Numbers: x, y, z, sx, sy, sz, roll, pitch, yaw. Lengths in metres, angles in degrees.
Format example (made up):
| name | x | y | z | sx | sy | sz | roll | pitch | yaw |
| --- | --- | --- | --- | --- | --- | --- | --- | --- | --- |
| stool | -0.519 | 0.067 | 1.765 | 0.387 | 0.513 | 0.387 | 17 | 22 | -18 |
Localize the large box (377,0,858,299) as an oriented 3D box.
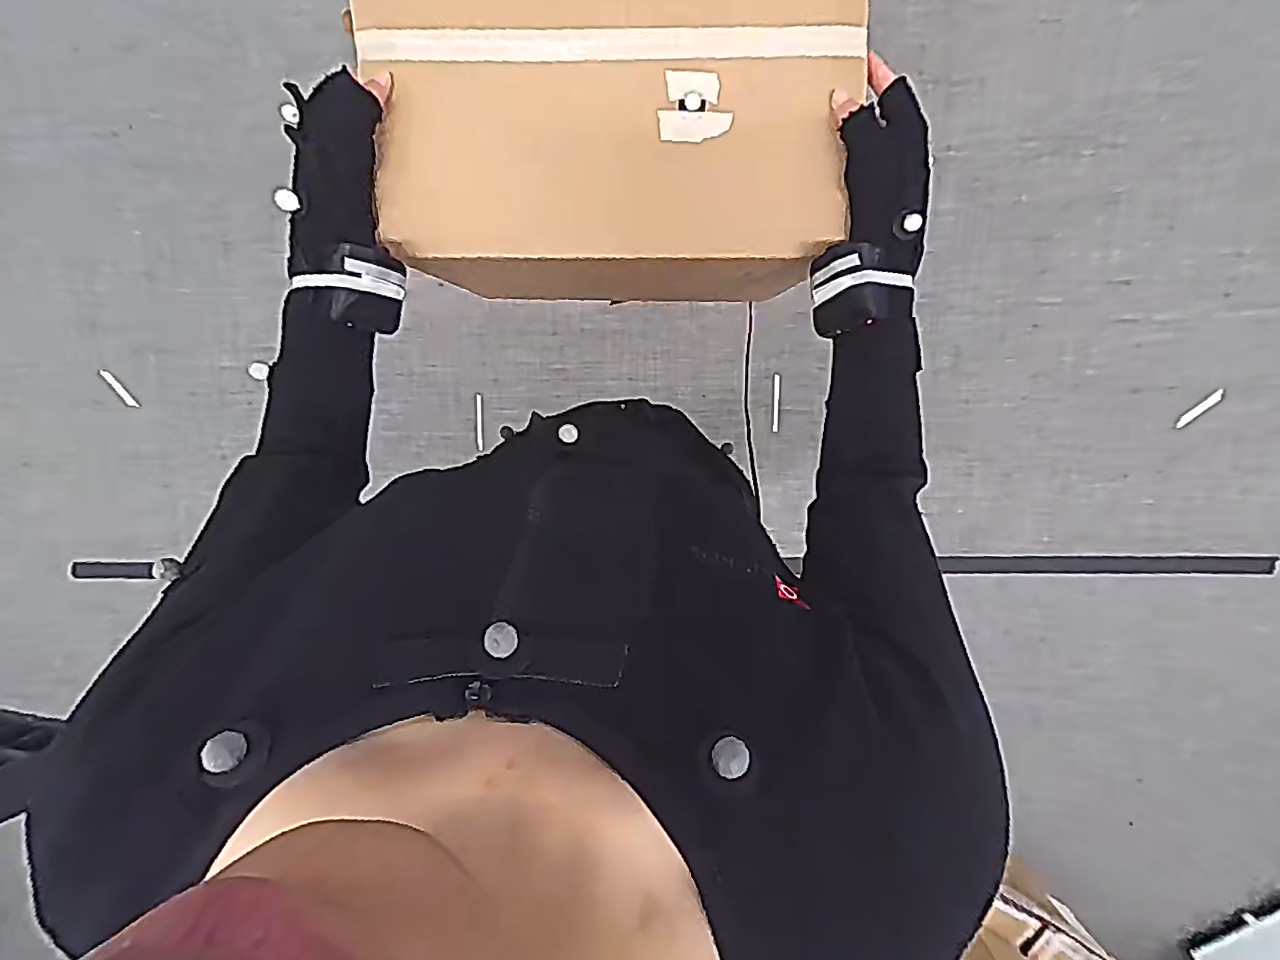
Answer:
| name | x | y | z | sx | sy | sz | roll | pitch | yaw |
| --- | --- | --- | --- | --- | --- | --- | --- | --- | --- |
| large box | -0.020 | -0.382 | 0.597 | 0.408 | 0.320 | 0.320 | 0 | 103 | 0 |
